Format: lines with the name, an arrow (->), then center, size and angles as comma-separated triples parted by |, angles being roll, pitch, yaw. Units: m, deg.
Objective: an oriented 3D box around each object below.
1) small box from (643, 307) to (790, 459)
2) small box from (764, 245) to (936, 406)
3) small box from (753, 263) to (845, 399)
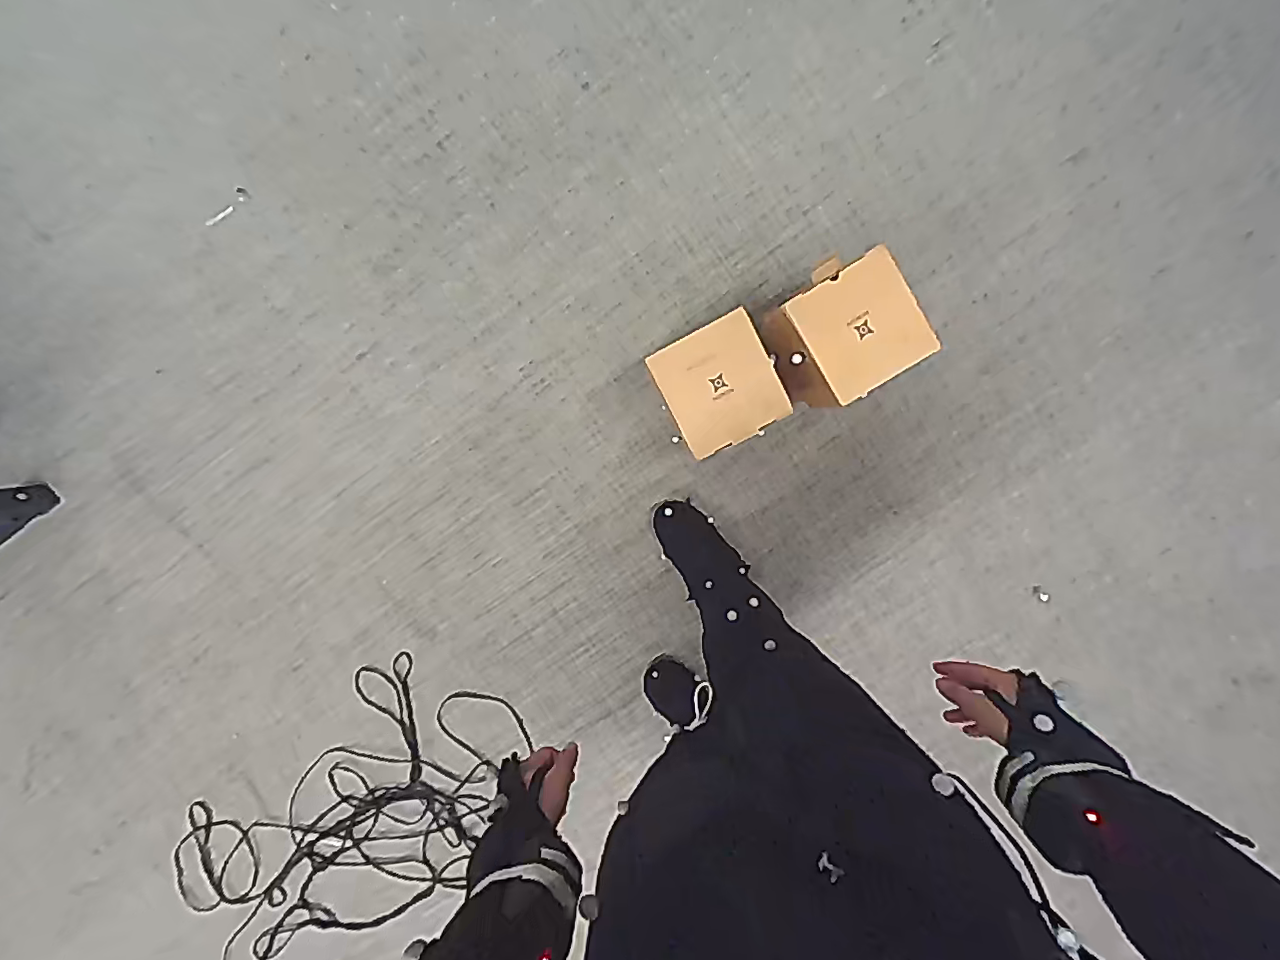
small box -> 0.117, -0.150, 0.877 | 0.168, 0.176, 0.179 | -28, 93, 3
small box -> 0.321, -0.233, 0.861 | 0.168, 0.176, 0.179 | -31, 94, 5
small box -> 0.329, -0.268, 1.021 | 0.168, 0.176, 0.179 | -31, 94, 4
